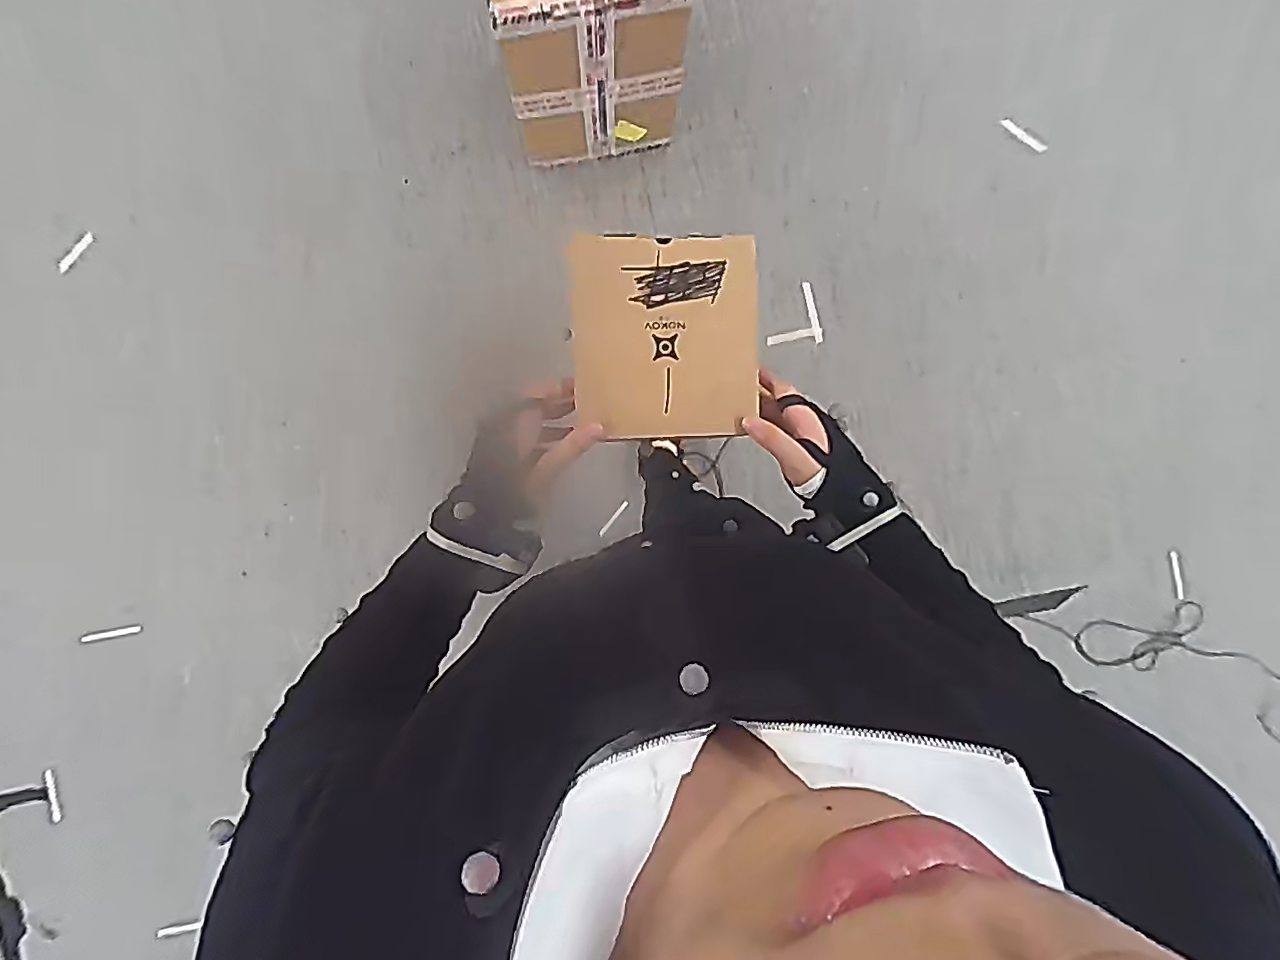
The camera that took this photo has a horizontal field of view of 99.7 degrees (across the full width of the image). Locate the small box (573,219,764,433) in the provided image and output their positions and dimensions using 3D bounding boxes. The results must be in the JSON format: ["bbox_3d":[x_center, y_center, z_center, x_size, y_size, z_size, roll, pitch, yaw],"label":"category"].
[{"bbox_3d":[0.017,-0.139,0.545,0.168,0.176,0.179,-3,94,-6],"label":"small box"}]
